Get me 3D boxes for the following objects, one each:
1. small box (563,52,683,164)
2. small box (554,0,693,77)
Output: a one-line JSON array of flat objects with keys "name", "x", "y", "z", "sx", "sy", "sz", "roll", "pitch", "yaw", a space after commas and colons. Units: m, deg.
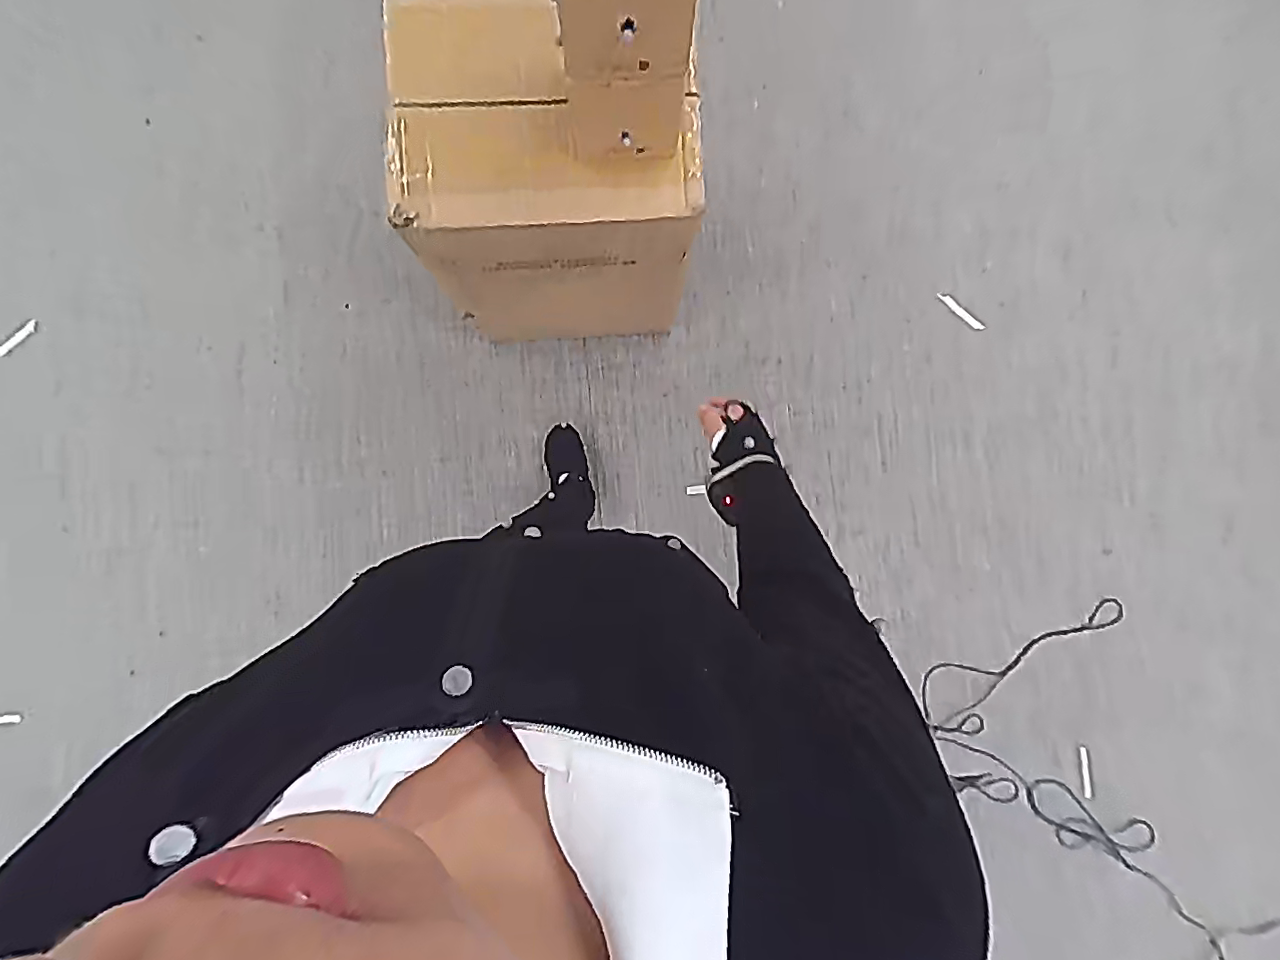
[{"name": "small box", "x": -0.029, "y": -0.619, "z": 0.823, "sx": 0.168, "sy": 0.176, "sz": 0.179, "roll": -4, "pitch": 88, "yaw": -1}, {"name": "small box", "x": -0.021, "y": -0.630, "z": 0.659, "sx": 0.168, "sy": 0.176, "sz": 0.179, "roll": -3, "pitch": 88, "yaw": -1}]
